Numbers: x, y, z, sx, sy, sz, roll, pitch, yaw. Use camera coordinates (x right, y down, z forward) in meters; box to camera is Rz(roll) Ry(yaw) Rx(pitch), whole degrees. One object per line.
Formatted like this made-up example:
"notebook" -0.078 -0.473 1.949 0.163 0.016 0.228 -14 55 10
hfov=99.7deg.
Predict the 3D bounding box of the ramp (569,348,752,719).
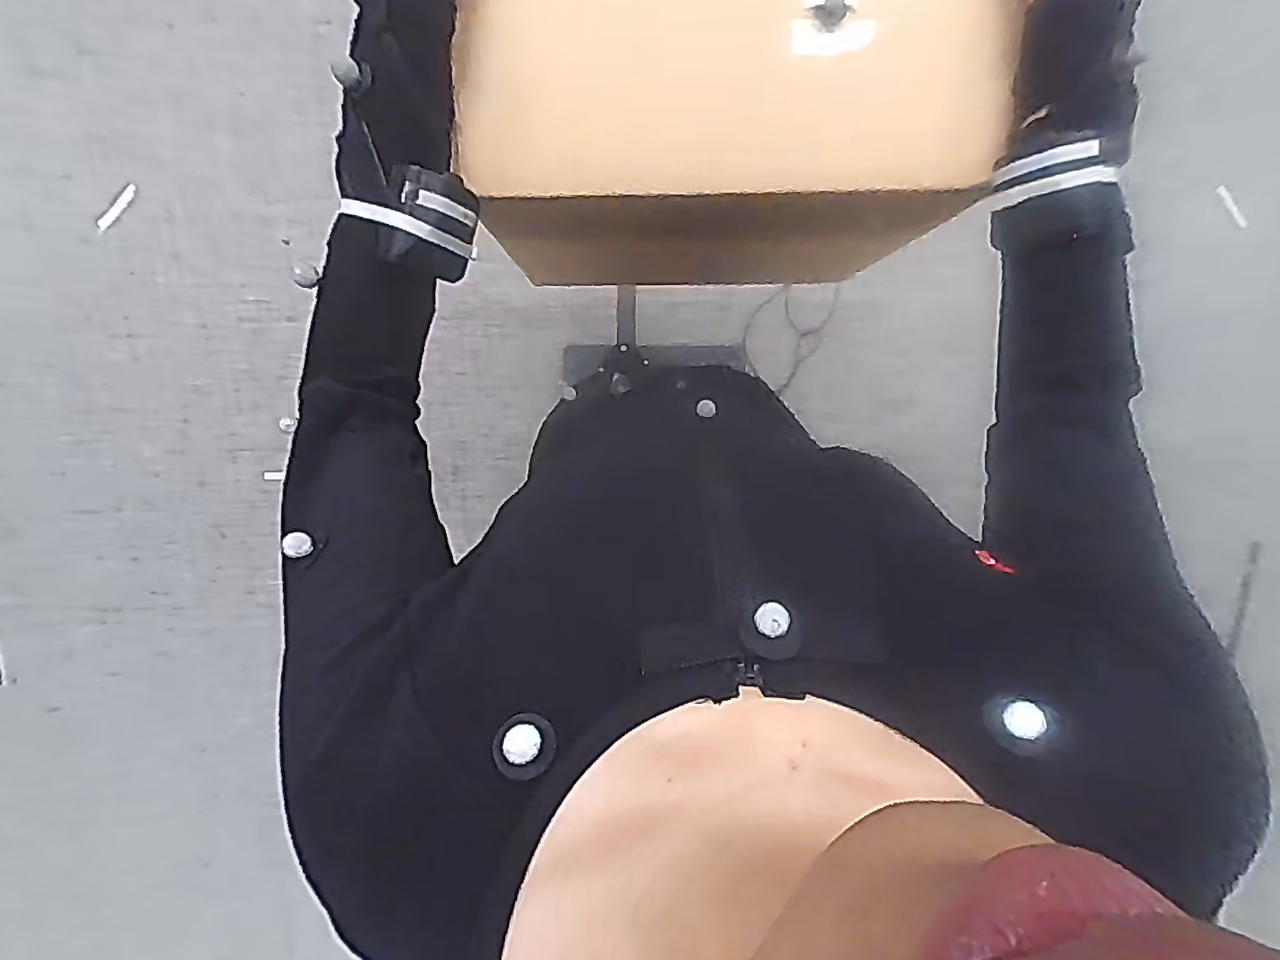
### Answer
"ramp" 0.054 0.141 1.466 0.509 0.206 0.991 -2 99 1

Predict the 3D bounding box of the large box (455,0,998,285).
"large box" 0.058 -0.393 0.538 0.408 0.320 0.320 -2 98 -1
